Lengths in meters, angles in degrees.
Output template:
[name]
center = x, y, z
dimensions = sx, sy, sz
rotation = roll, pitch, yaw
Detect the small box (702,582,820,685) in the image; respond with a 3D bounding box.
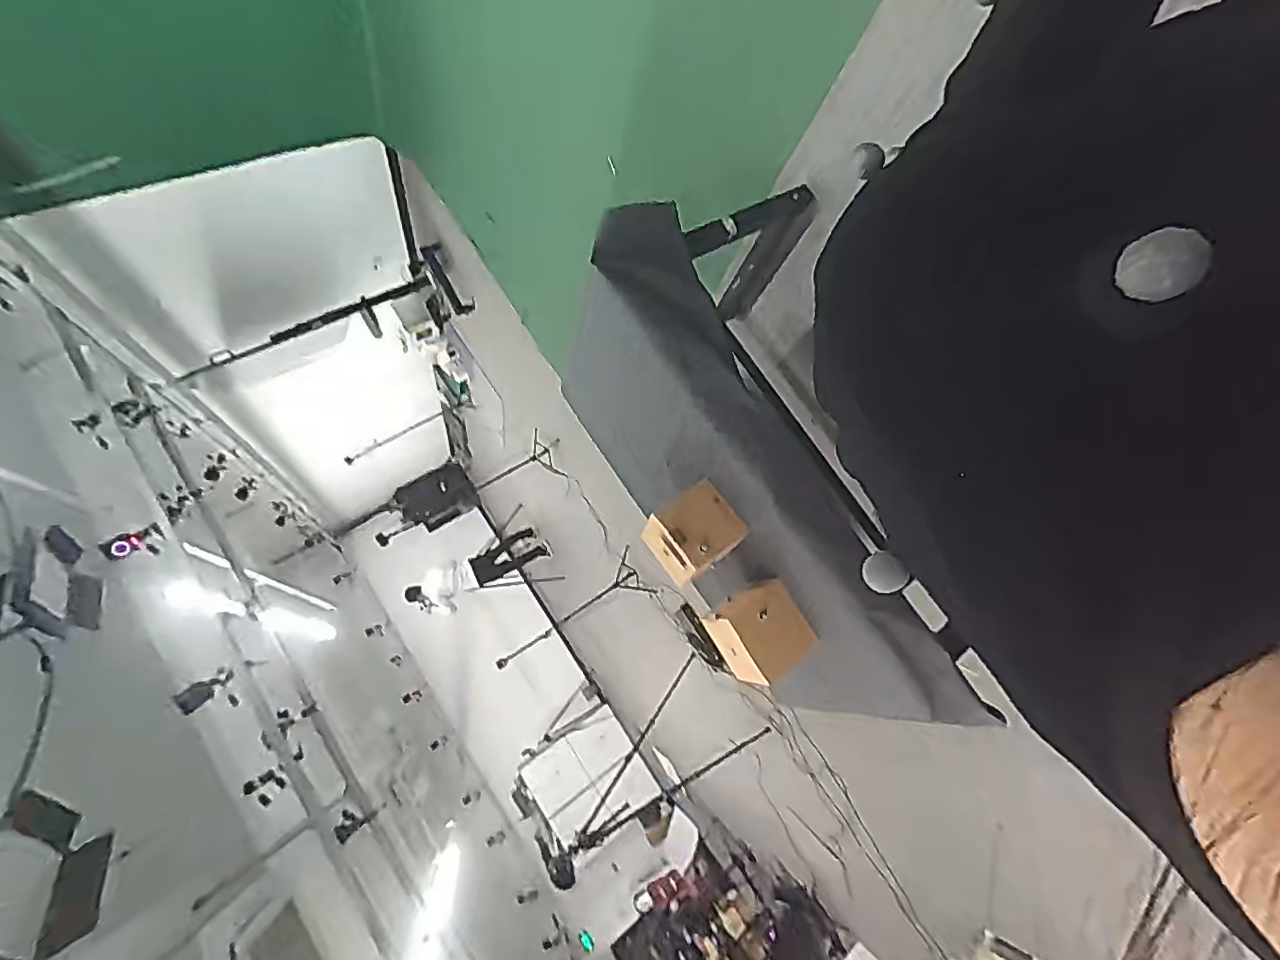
[small box]
center = 0.283, 0.354, 1.280
dimensions = 0.179, 0.176, 0.168
rotation = 56, 159, 3
